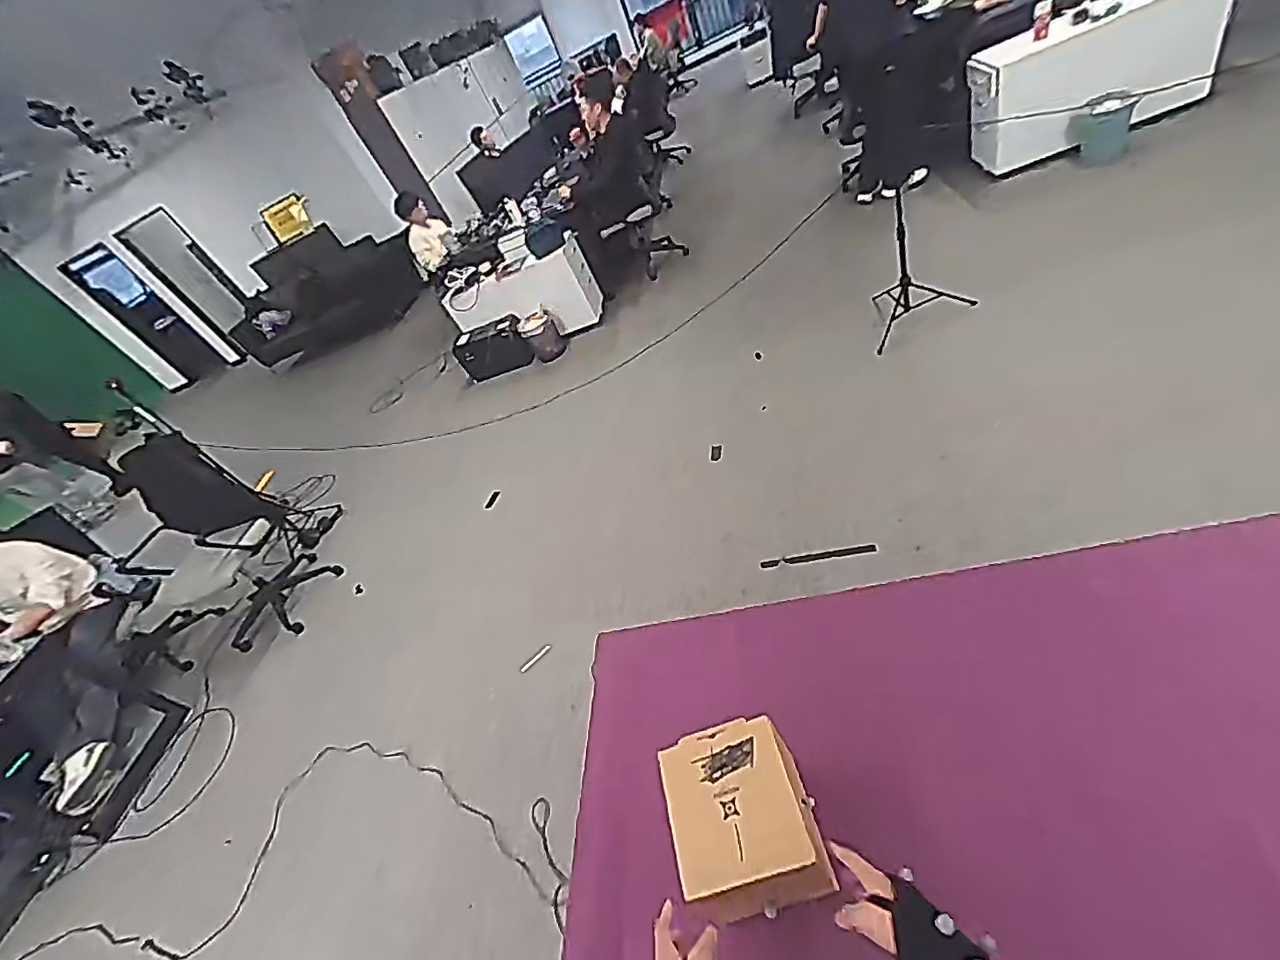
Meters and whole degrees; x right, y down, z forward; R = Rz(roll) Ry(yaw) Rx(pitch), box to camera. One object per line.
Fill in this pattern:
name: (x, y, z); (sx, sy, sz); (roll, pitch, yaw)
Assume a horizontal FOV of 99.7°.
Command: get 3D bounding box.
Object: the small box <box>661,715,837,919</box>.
small box: (0.146, 0.457, 0.733); (0.168, 0.176, 0.179); (-24, 41, 8)
